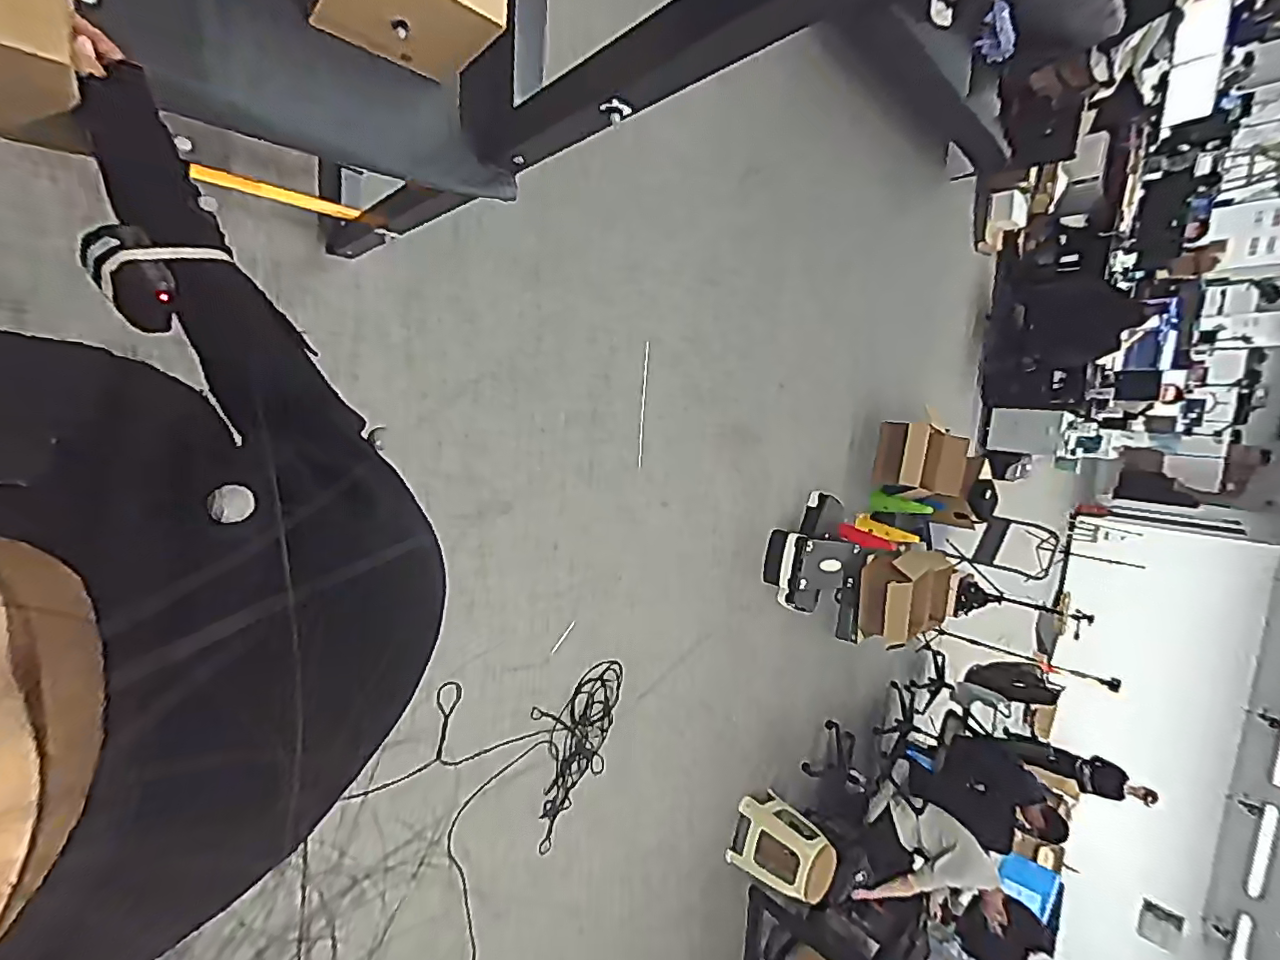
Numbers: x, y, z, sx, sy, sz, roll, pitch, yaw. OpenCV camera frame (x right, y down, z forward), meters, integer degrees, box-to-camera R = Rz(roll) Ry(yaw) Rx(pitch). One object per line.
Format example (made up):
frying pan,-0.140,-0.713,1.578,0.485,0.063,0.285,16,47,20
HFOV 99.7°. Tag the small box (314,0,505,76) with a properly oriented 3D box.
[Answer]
small box,-0.266,-0.610,0.613,0.168,0.176,0.179,-5,101,-44
